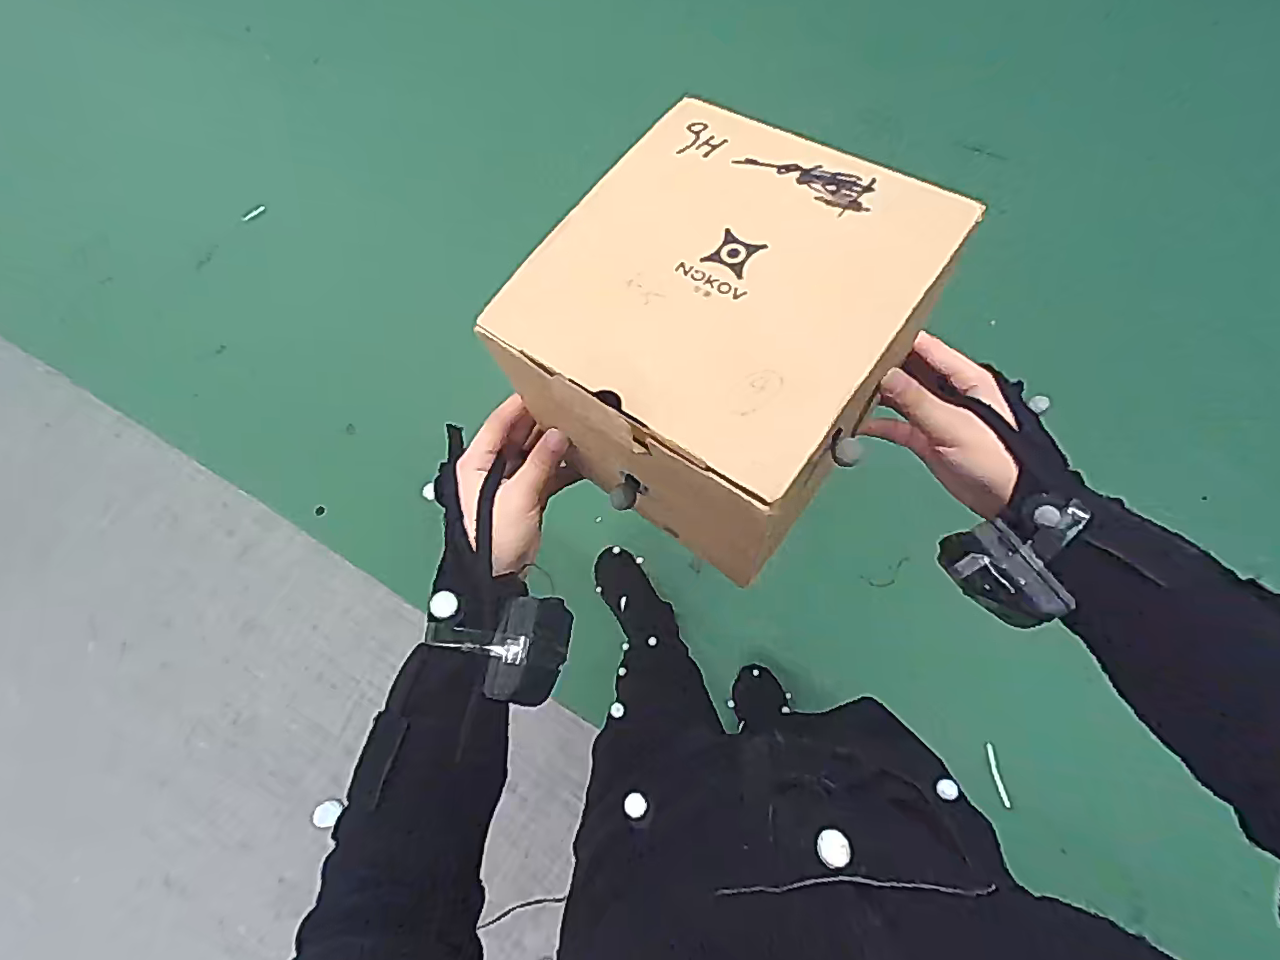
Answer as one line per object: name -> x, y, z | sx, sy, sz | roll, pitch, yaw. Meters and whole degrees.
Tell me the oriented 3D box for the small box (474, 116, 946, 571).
small box -> 0.042, -0.066, 0.332 | 0.168, 0.176, 0.179 | 33, 78, 19
